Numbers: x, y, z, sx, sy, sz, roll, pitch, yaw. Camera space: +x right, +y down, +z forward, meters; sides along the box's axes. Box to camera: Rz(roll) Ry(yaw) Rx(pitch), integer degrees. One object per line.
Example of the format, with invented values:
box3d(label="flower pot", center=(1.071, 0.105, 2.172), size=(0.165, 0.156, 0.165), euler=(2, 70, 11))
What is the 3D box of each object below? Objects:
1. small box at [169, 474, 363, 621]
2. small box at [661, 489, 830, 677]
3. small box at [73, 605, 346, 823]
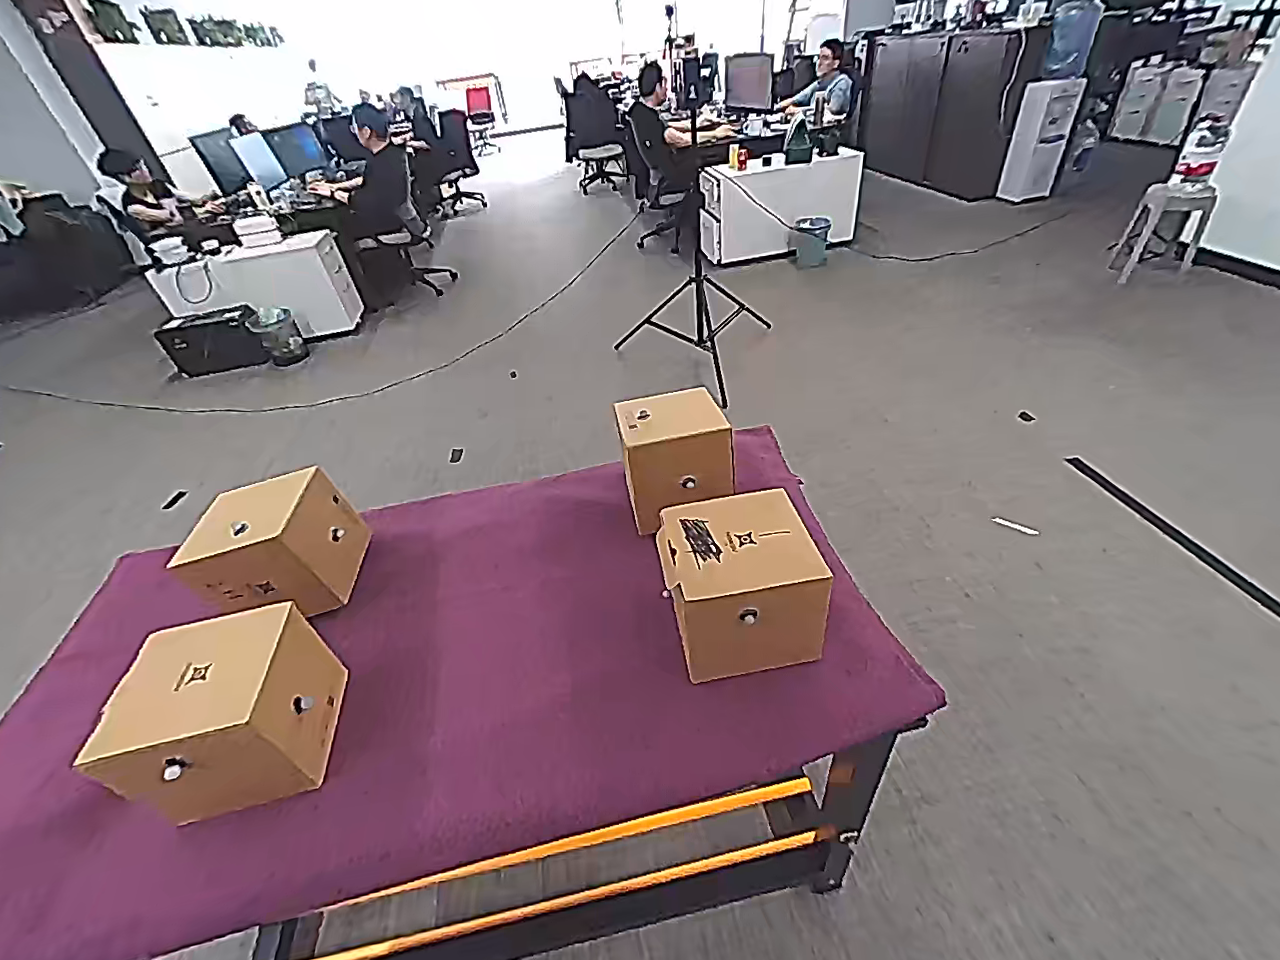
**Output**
box3d(label="small box", center=(-0.571, 0.113, 0.863), size=(0.179, 0.168, 0.176), euler=(-16, 38, 3))
box3d(label="small box", center=(0.133, 0.139, 0.721), size=(0.179, 0.176, 0.168), euler=(-10, 38, -2))
box3d(label="small box", center=(-0.494, 0.285, 0.662), size=(0.179, 0.176, 0.168), euler=(-13, 39, -5))
